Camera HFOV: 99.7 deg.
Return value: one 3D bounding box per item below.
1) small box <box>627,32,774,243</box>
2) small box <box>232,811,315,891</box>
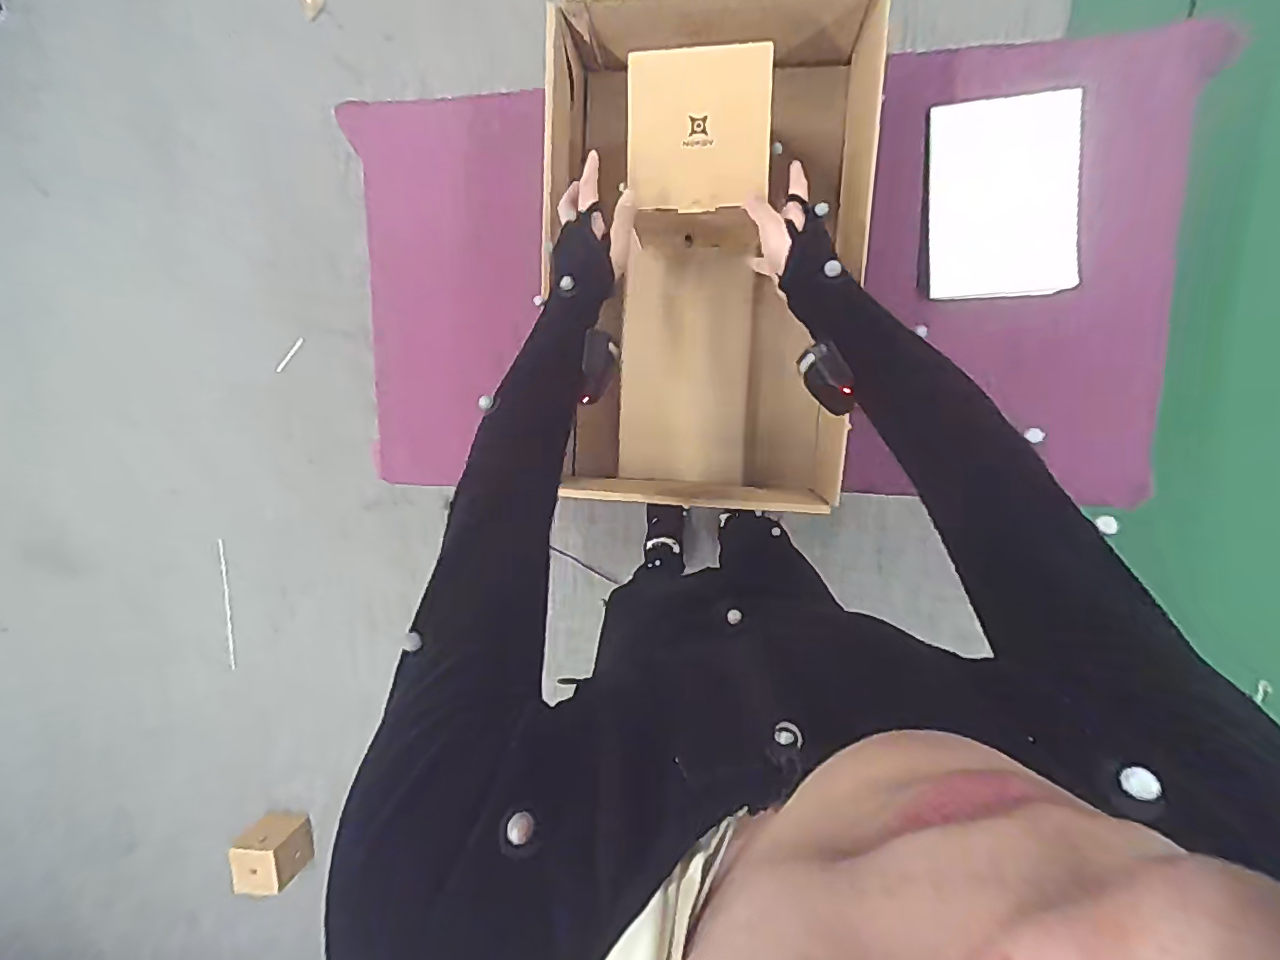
[{"bbox_3d":[0.075,-0.421,0.694,0.168,0.176,0.179,1,99,7],"label":"small box"},{"bbox_3d":[-1.276,1.297,1.899,0.179,0.176,0.168,-2,96,8],"label":"small box"}]
